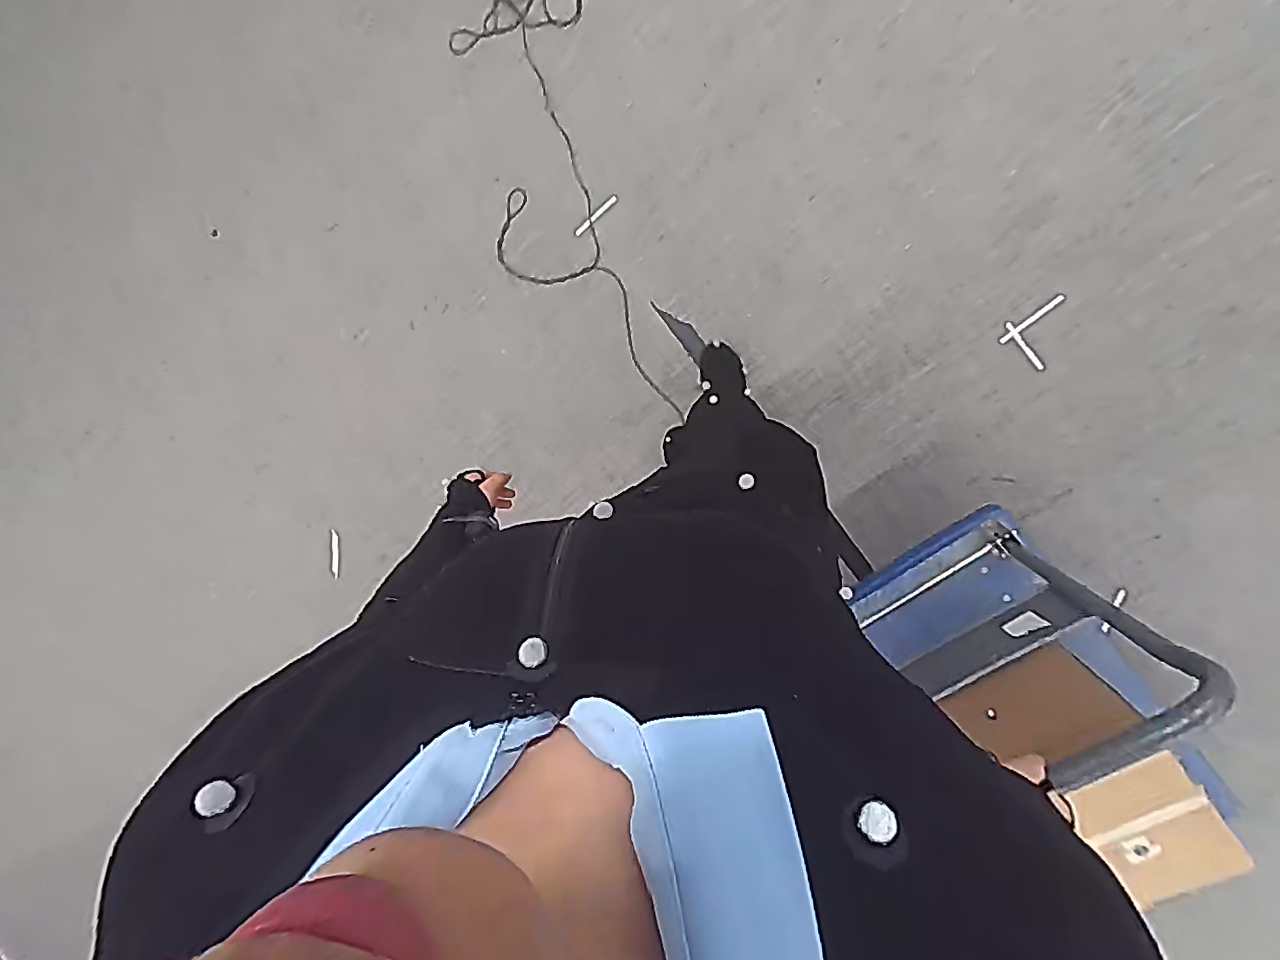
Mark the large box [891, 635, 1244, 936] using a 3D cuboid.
[{"bbox_3d":[0.809,0.596,1.104,0.408,0.320,0.320,-37,91,15],"label":"large box"}]
